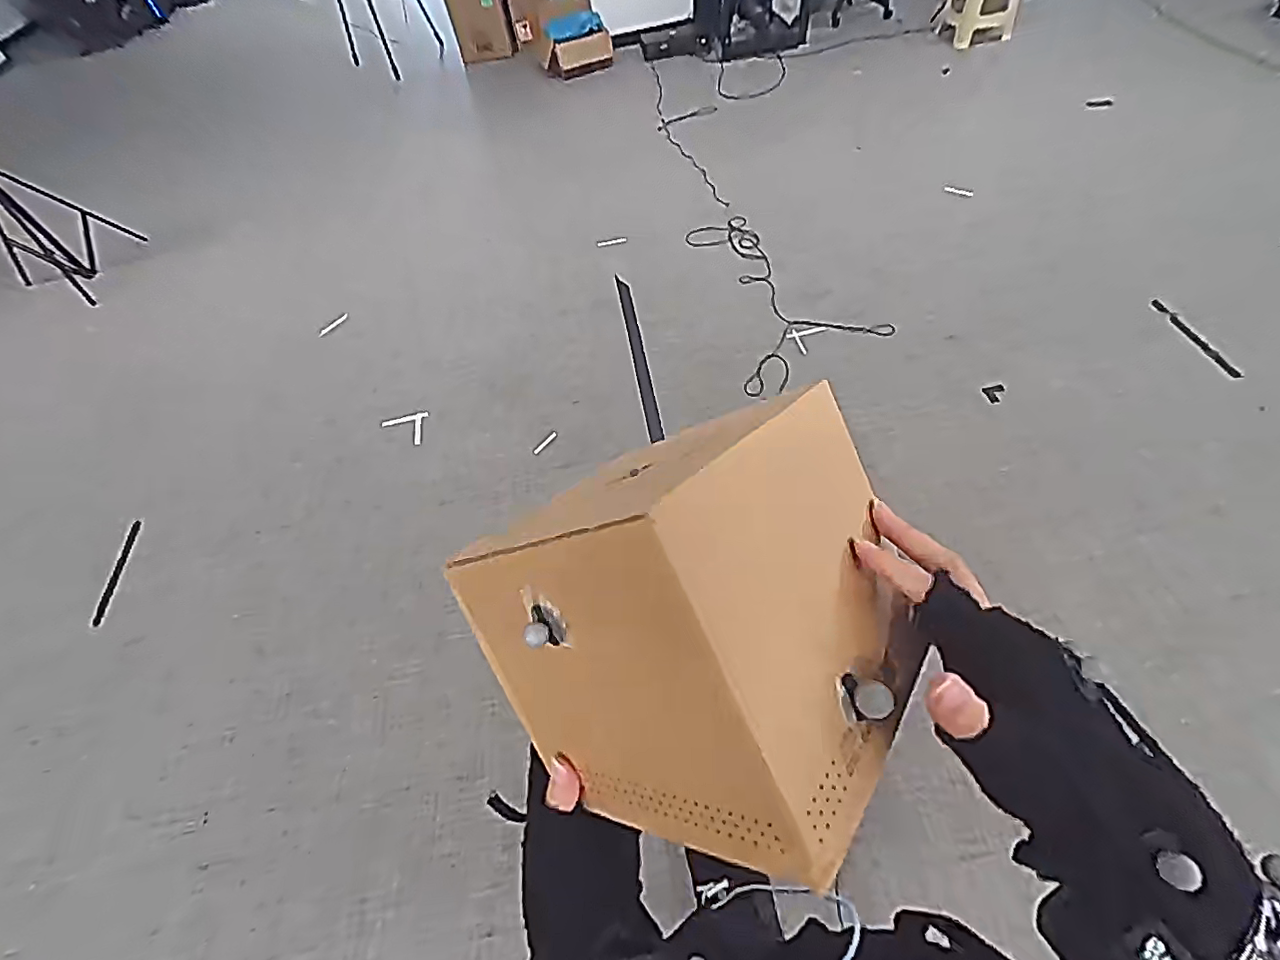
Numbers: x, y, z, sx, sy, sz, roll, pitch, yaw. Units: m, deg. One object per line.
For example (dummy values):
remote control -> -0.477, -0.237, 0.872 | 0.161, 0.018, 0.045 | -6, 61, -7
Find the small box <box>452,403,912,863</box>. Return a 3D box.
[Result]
small box -> 0.027, 0.079, 0.323 | 0.179, 0.176, 0.168 | -17, 13, 46
